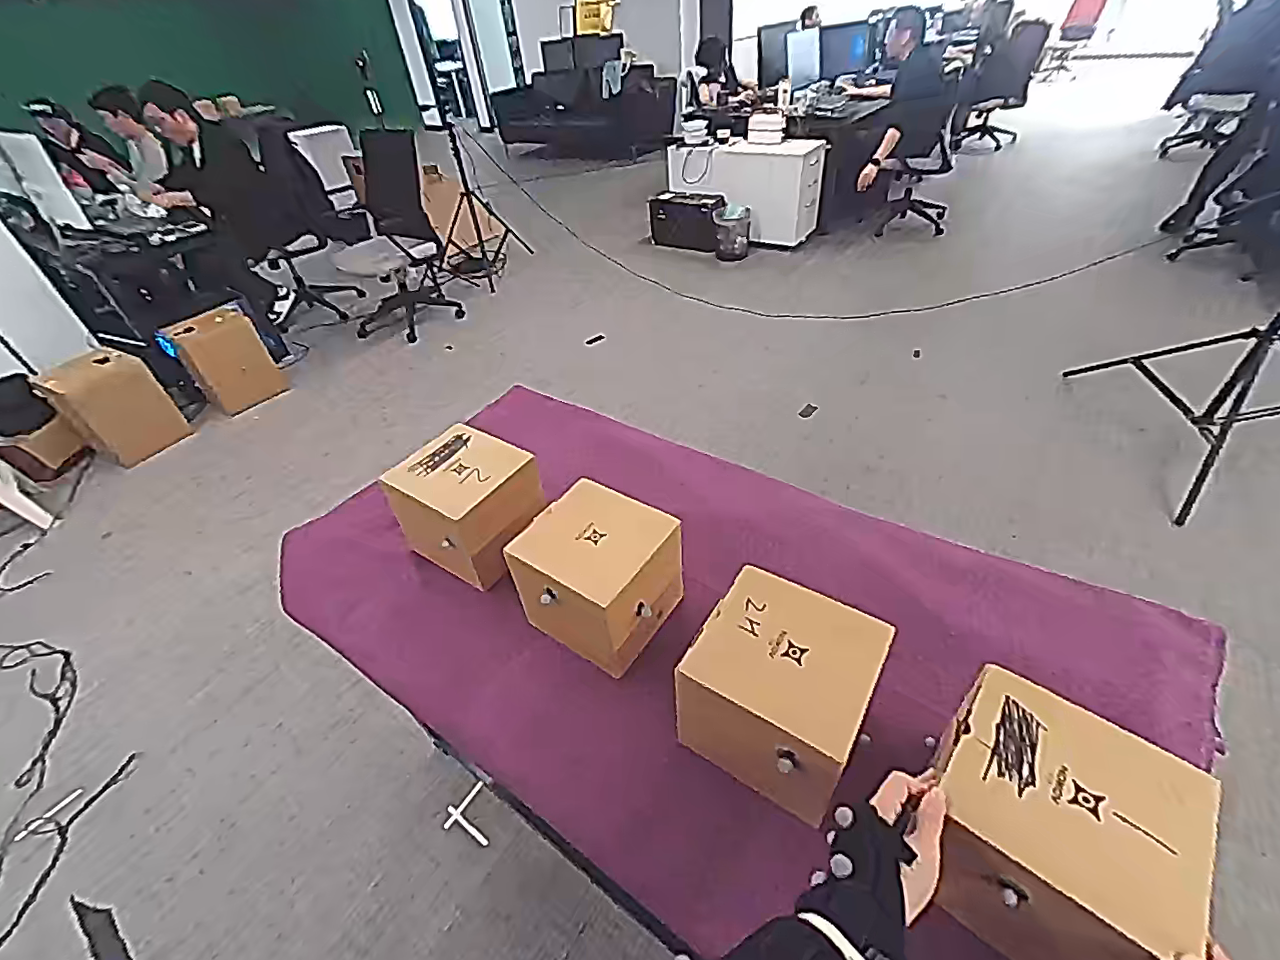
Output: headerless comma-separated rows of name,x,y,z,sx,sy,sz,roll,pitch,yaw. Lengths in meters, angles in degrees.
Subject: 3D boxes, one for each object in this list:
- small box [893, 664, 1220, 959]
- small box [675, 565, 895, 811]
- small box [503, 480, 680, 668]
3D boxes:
small box,0.358,0.314,0.491,0.179,0.176,0.168,27,50,32
small box,0.157,0.234,0.608,0.179,0.176,0.168,21,47,28
small box,-0.056,0.134,0.758,0.179,0.176,0.168,22,49,29
